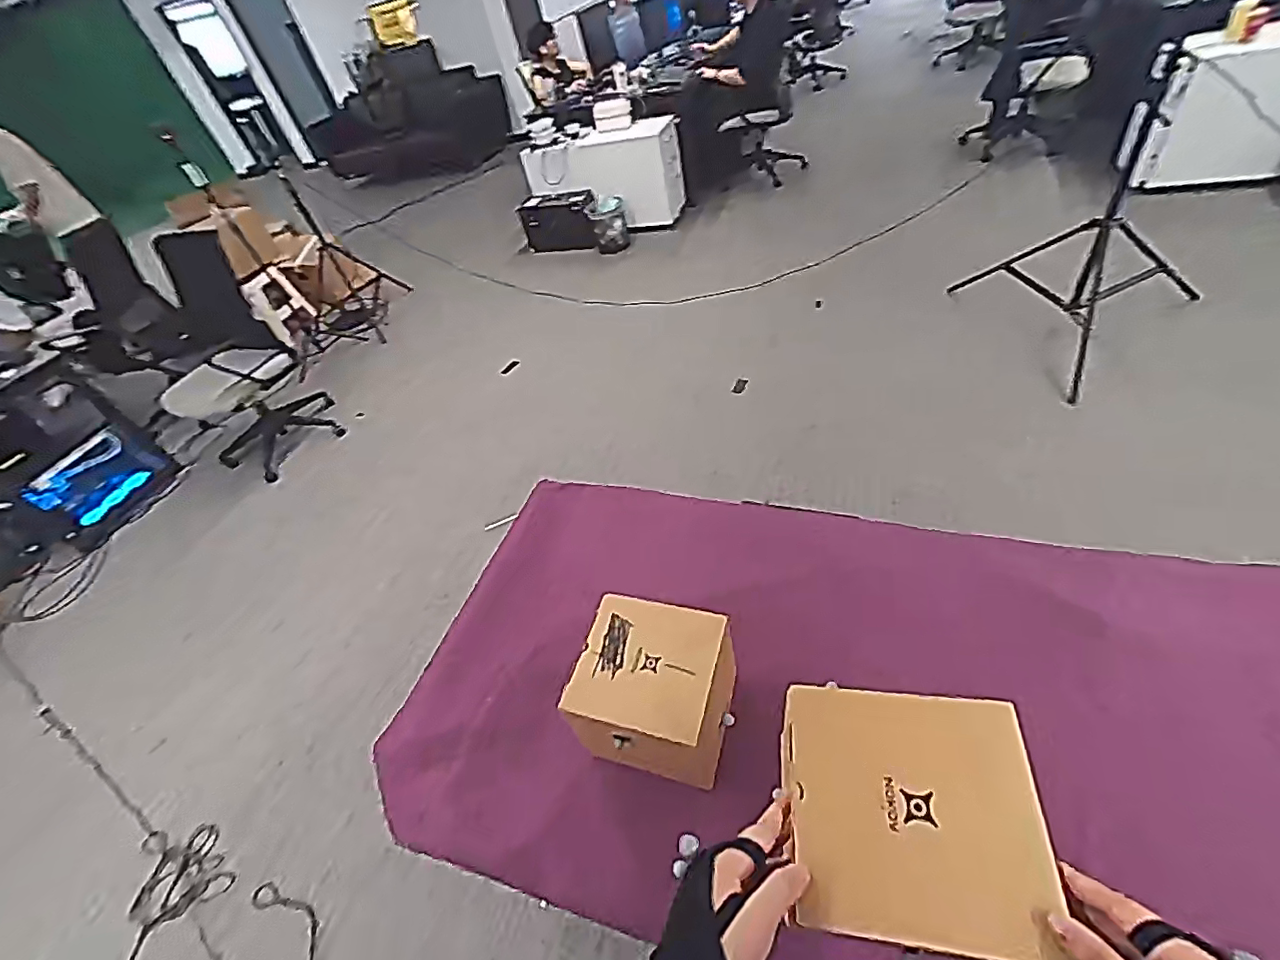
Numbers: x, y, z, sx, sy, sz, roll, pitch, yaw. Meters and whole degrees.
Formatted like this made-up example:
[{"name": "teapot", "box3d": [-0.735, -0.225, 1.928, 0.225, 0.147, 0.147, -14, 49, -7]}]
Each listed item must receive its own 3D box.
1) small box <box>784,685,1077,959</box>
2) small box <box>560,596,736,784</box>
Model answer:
[{"name": "small box", "box3d": [0.216, 0.292, 0.463, 0.179, 0.176, 0.168, 0, 52, 14]}, {"name": "small box", "box3d": [0.023, 0.282, 0.726, 0.179, 0.176, 0.168, 6, 49, 20]}]
